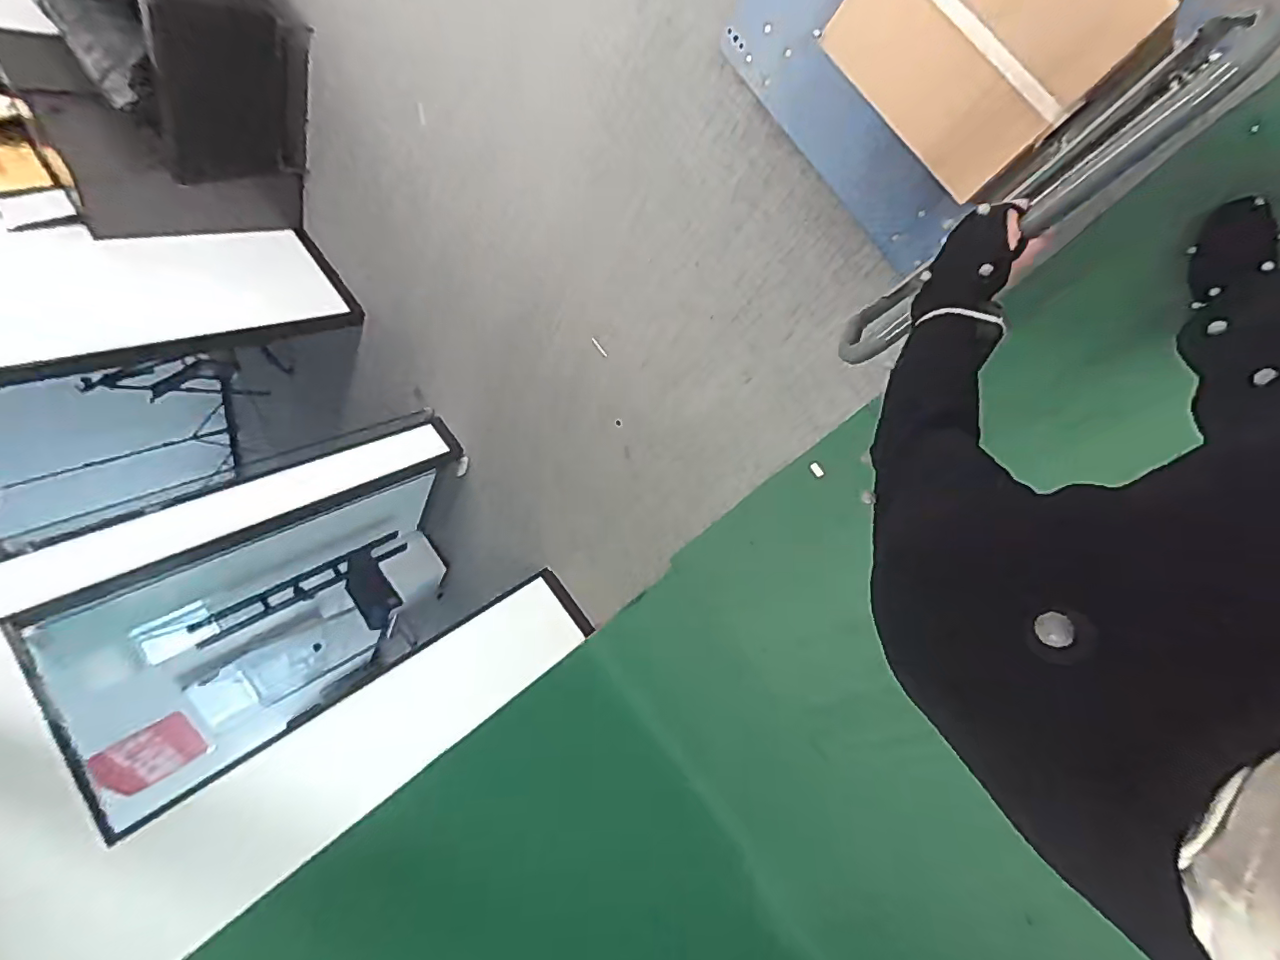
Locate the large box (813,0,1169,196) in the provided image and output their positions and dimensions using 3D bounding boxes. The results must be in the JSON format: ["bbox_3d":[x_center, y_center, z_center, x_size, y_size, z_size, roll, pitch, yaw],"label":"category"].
[{"bbox_3d":[0.598,-0.763,0.937,0.408,0.320,0.320,53,137,7],"label":"large box"}]
